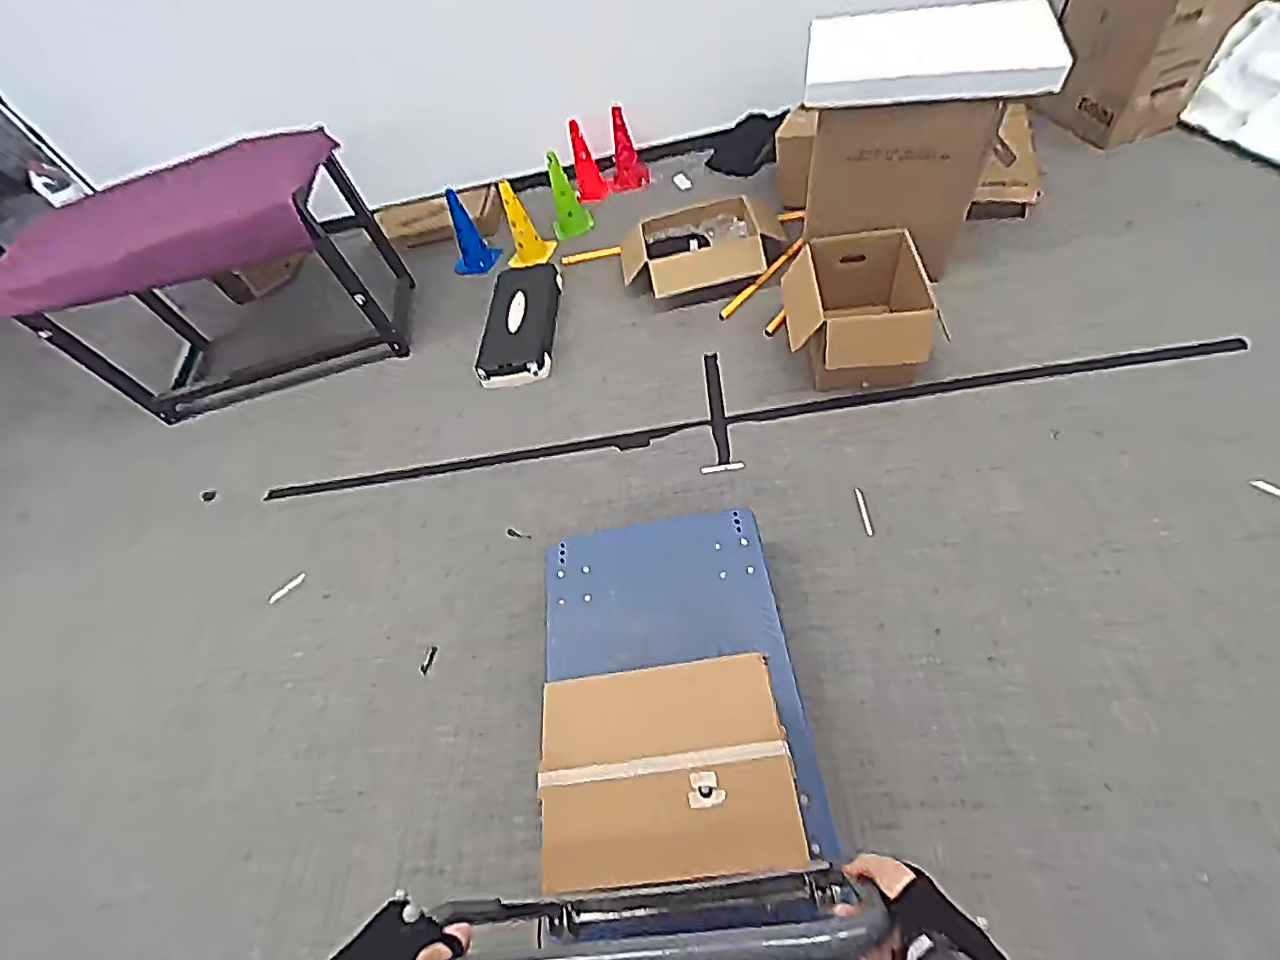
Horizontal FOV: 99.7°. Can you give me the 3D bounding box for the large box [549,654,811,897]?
[{"bbox_3d":[0.065,0.554,1.008,0.408,0.320,0.320,-10,55,5],"label":"large box"}]
